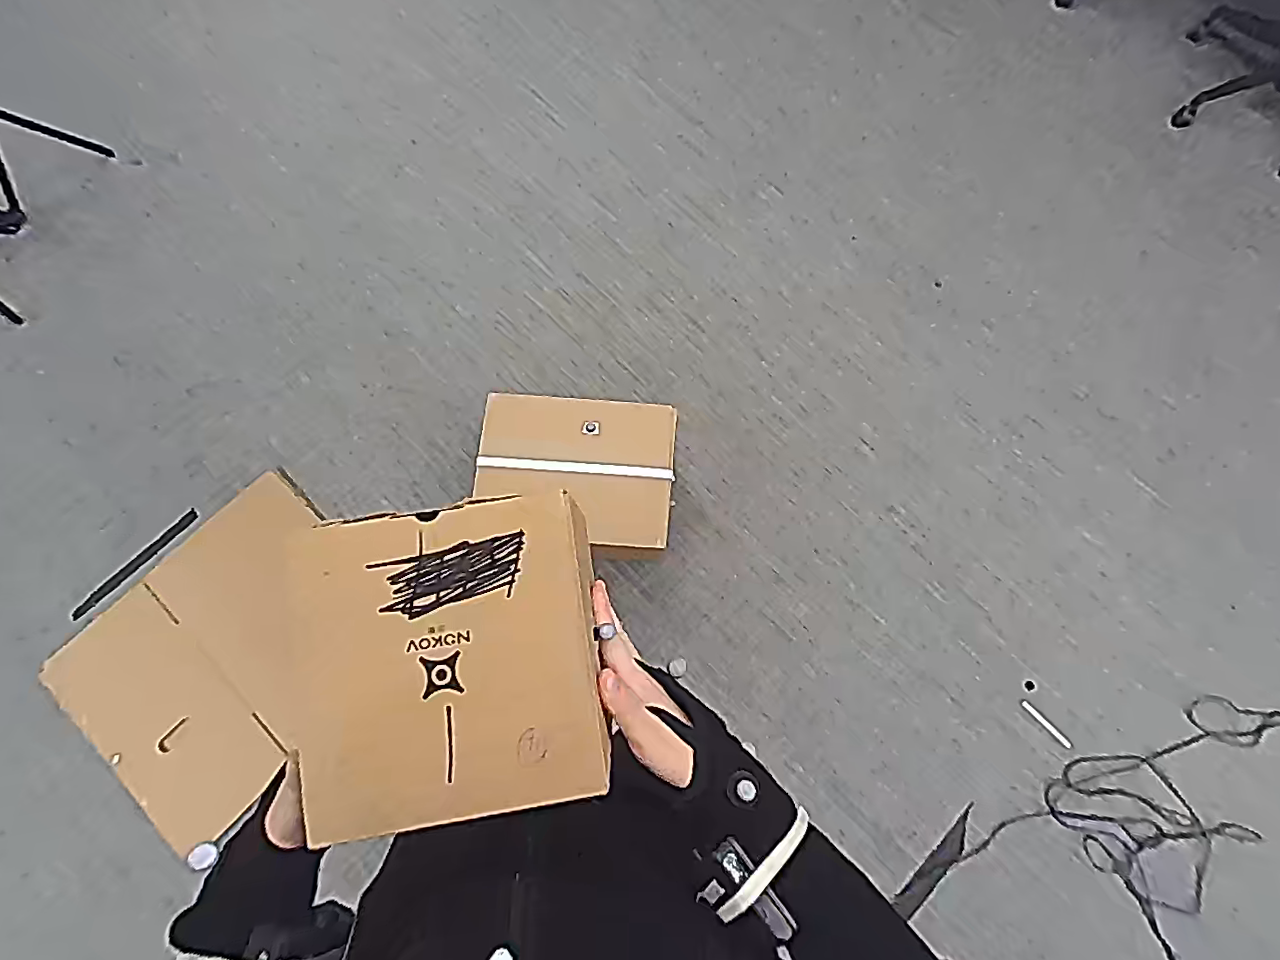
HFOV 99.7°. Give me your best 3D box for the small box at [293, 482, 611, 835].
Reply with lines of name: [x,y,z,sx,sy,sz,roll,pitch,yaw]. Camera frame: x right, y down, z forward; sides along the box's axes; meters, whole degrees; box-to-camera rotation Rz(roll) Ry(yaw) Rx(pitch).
small box: [-0.114,0.110,0.389,0.168,0.176,0.179,-9,81,-3]
